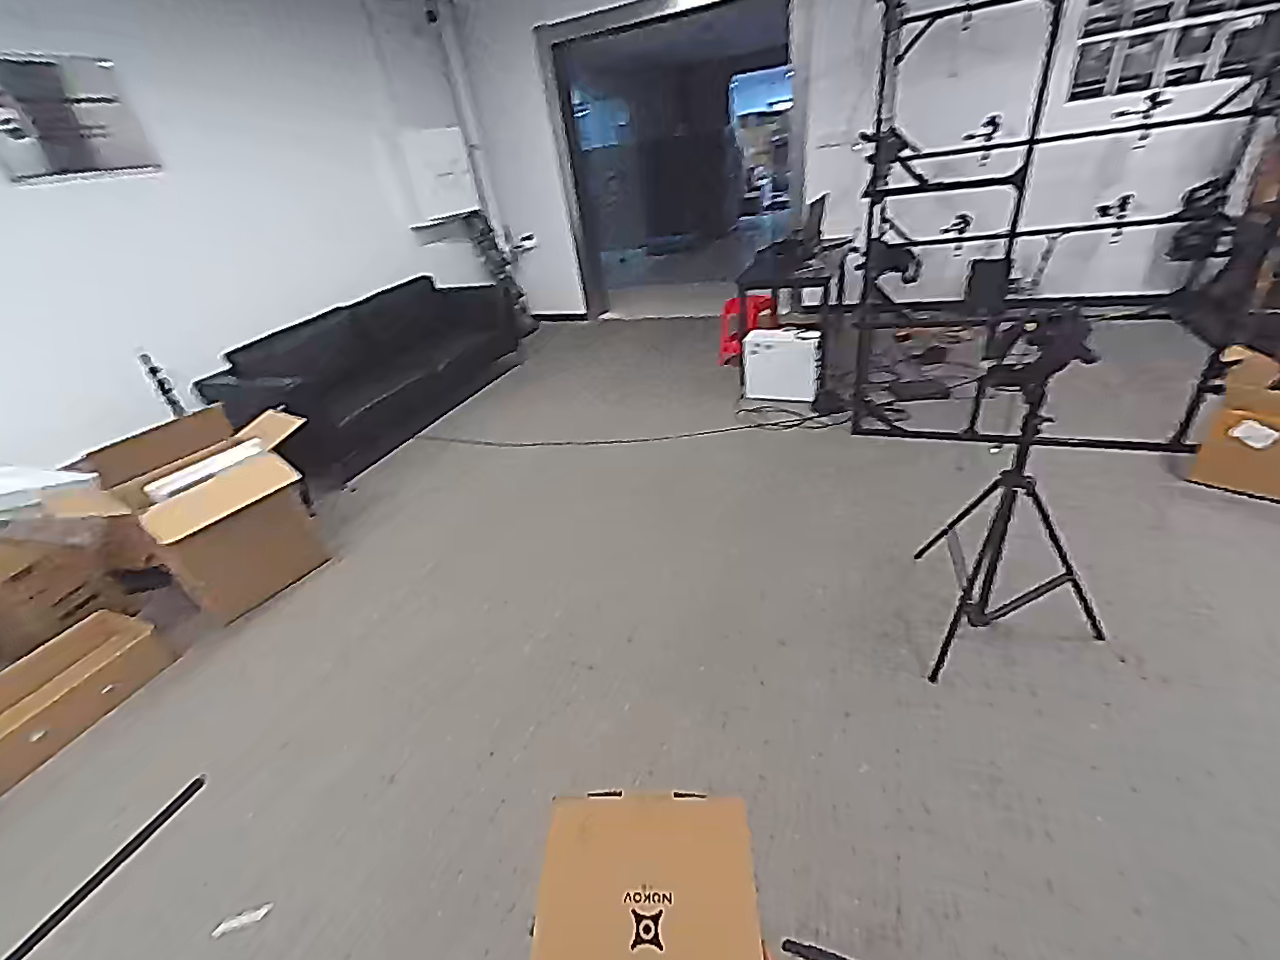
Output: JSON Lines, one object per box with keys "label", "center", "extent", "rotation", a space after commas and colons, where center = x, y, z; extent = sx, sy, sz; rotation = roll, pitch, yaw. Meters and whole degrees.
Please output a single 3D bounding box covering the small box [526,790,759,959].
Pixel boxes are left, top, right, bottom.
{"label": "small box", "center": [0.003, 0.383, 0.443], "extent": [0.168, 0.176, 0.179], "rotation": [-1, 39, 2]}
